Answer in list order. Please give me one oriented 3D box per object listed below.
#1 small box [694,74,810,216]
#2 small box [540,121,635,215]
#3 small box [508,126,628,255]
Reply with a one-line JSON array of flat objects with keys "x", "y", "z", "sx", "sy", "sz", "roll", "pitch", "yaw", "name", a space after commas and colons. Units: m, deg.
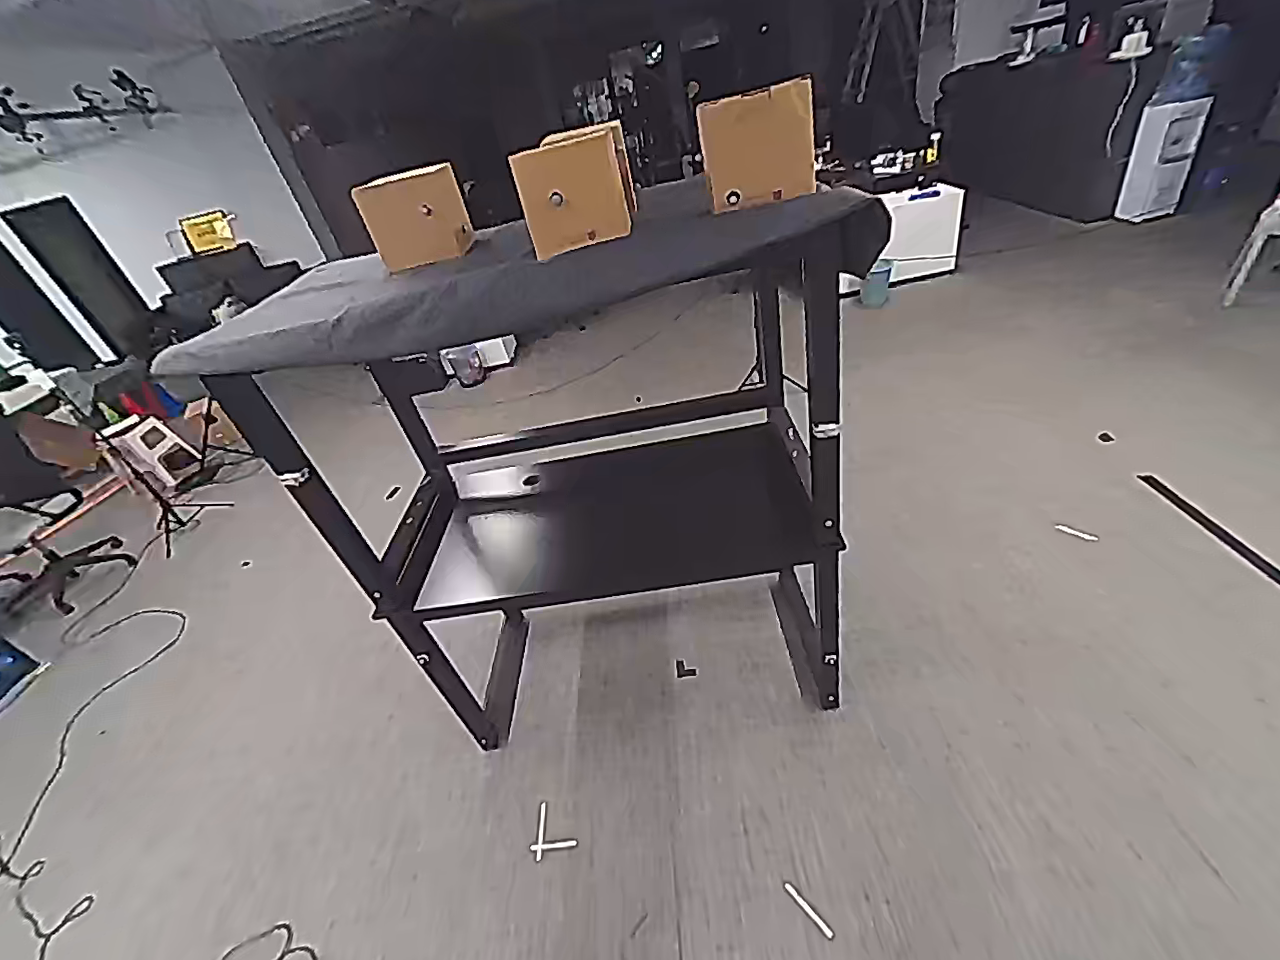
[{"x": 0.189, "y": -0.563, "z": 0.921, "sx": 0.168, "sy": 0.176, "sz": 0.179, "roll": -9, "pitch": 32, "yaw": 9, "name": "small box"}, {"x": -0.107, "y": -0.671, "z": 1.185, "sx": 0.168, "sy": 0.176, "sz": 0.179, "roll": -10, "pitch": 34, "yaw": 6, "name": "small box"}, {"x": -0.119, "y": -0.521, "z": 0.980, "sx": 0.168, "sy": 0.176, "sz": 0.179, "roll": -10, "pitch": 33, "yaw": 6, "name": "small box"}]
